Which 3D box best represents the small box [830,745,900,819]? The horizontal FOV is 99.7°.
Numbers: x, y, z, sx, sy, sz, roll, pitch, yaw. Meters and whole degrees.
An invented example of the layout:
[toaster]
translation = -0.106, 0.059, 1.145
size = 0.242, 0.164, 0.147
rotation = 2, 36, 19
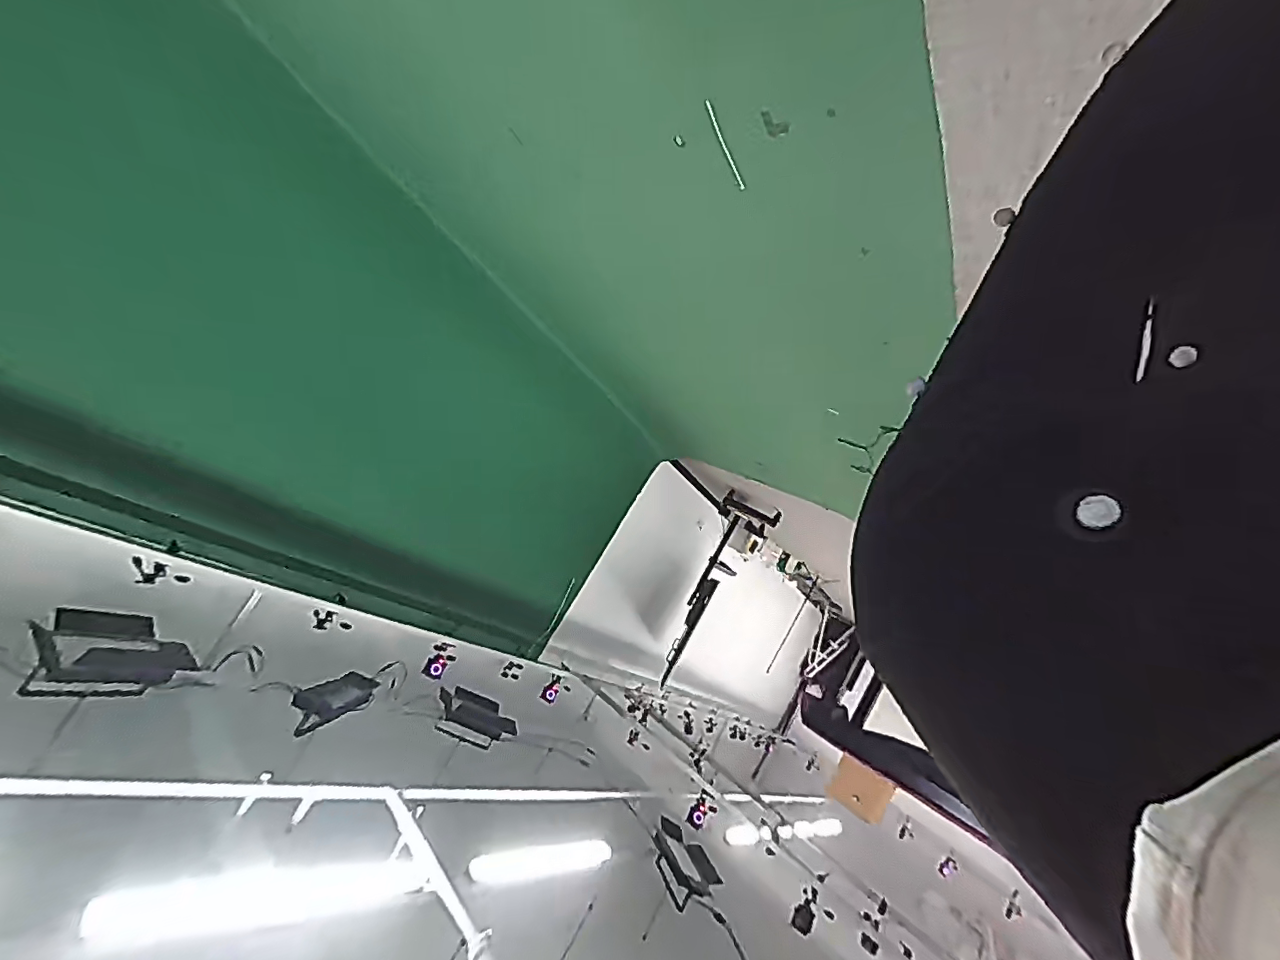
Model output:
[small box]
translation = 0.824, 1.092, 1.963
size = 0.179, 0.176, 0.168
rotation = 23, 169, 40
